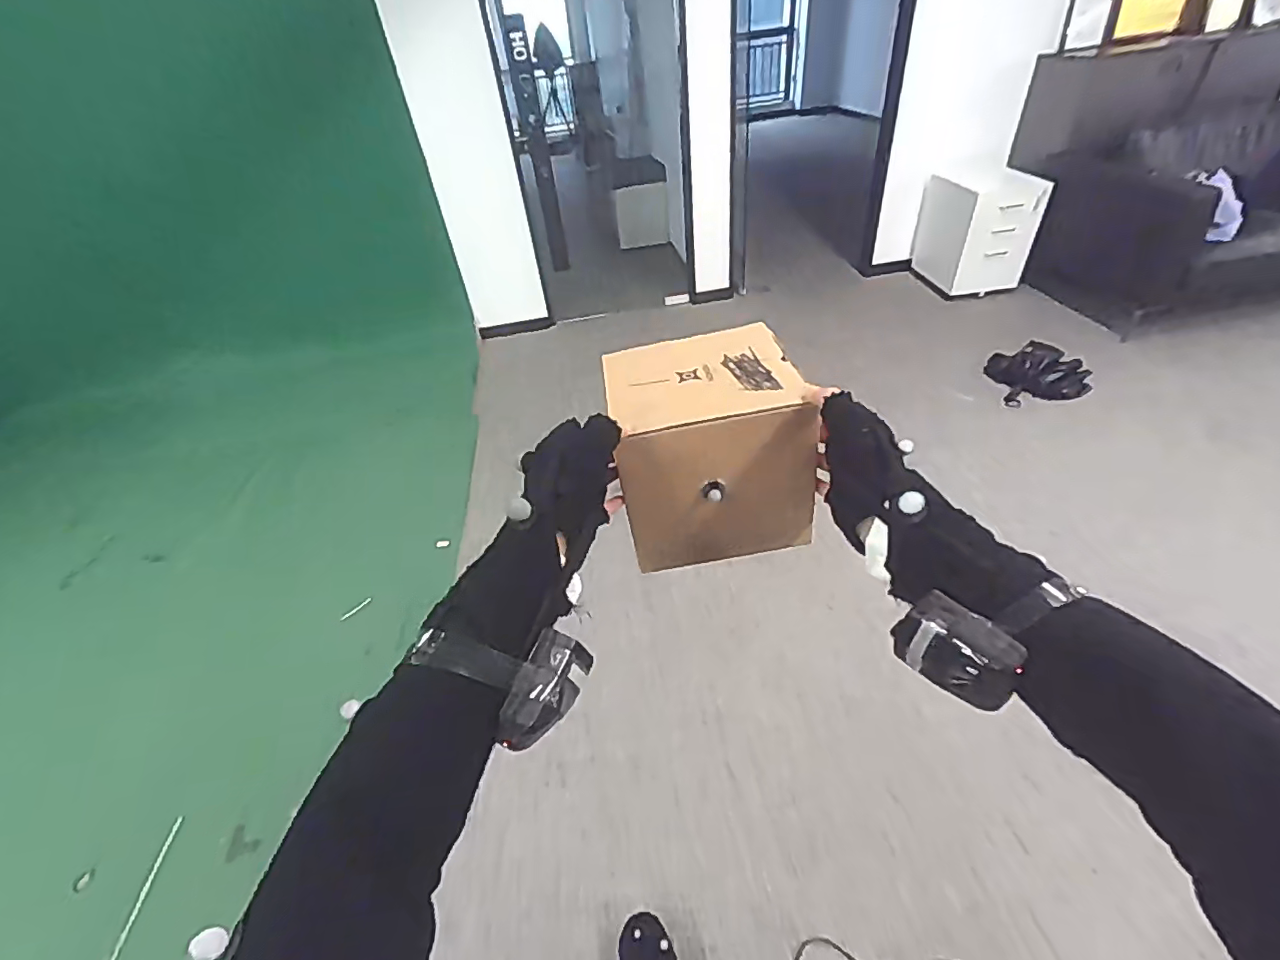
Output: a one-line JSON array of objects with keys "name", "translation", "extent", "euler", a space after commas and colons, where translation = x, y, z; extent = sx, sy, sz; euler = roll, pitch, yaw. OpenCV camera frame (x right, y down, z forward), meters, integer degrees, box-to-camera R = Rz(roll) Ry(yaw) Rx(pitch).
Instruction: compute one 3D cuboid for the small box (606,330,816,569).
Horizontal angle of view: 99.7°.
[{"name": "small box", "translation": [0.068, -0.032, 0.564], "extent": [0.179, 0.176, 0.168], "euler": [-11, 37, 1]}]
